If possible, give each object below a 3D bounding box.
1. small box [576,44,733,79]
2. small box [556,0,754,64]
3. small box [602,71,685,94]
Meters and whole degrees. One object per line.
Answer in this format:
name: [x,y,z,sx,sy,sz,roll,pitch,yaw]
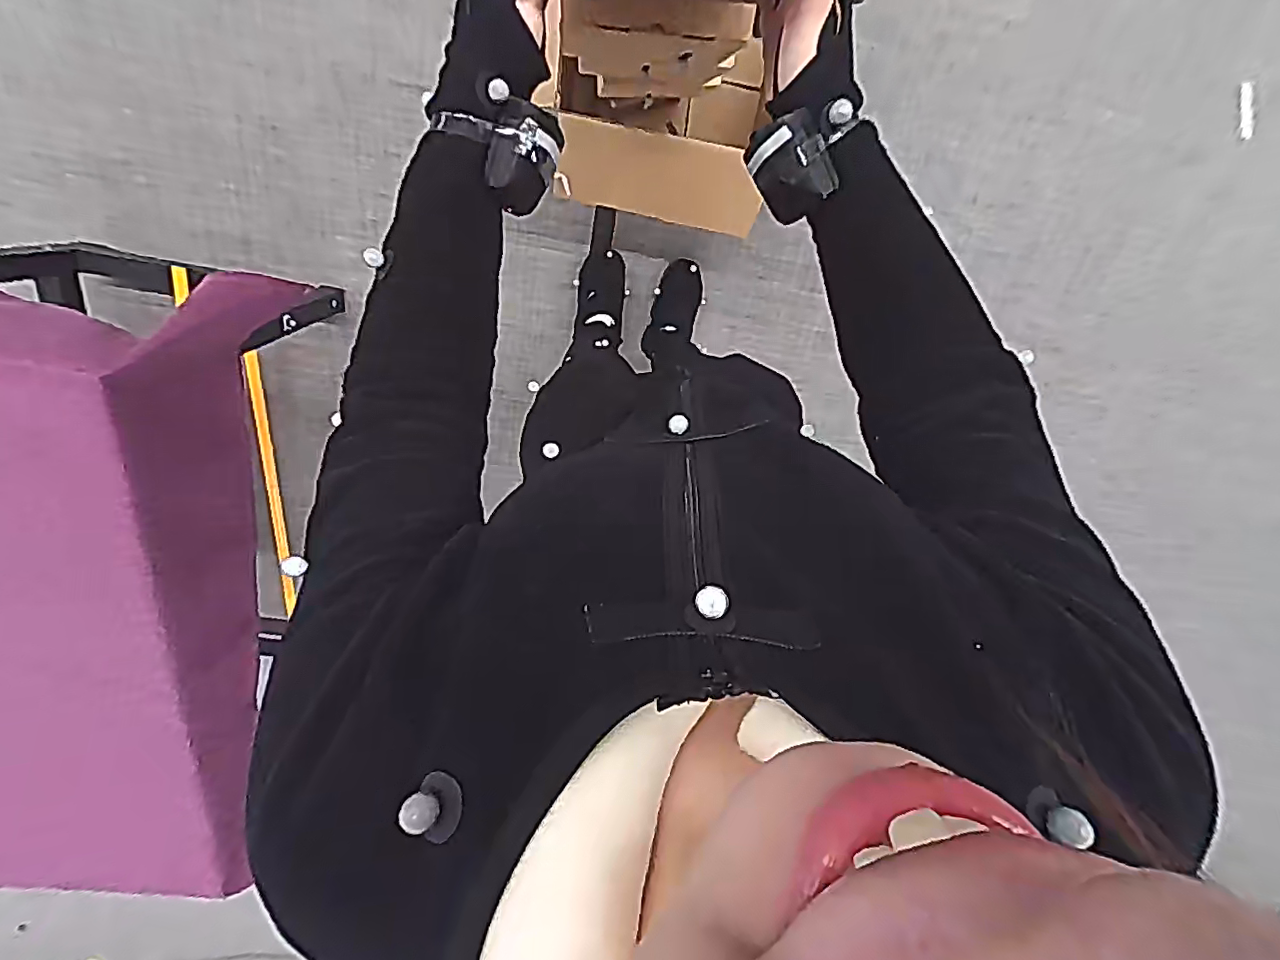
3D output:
small box: [0.014,-0.575,0.620,0.179,0.176,0.168,0,122,-7]
small box: [0.012,-0.492,0.478,0.168,0.176,0.179,1,121,-8]
small box: [0.015,-0.759,0.894,0.179,0.176,0.168,-12,121,0]
